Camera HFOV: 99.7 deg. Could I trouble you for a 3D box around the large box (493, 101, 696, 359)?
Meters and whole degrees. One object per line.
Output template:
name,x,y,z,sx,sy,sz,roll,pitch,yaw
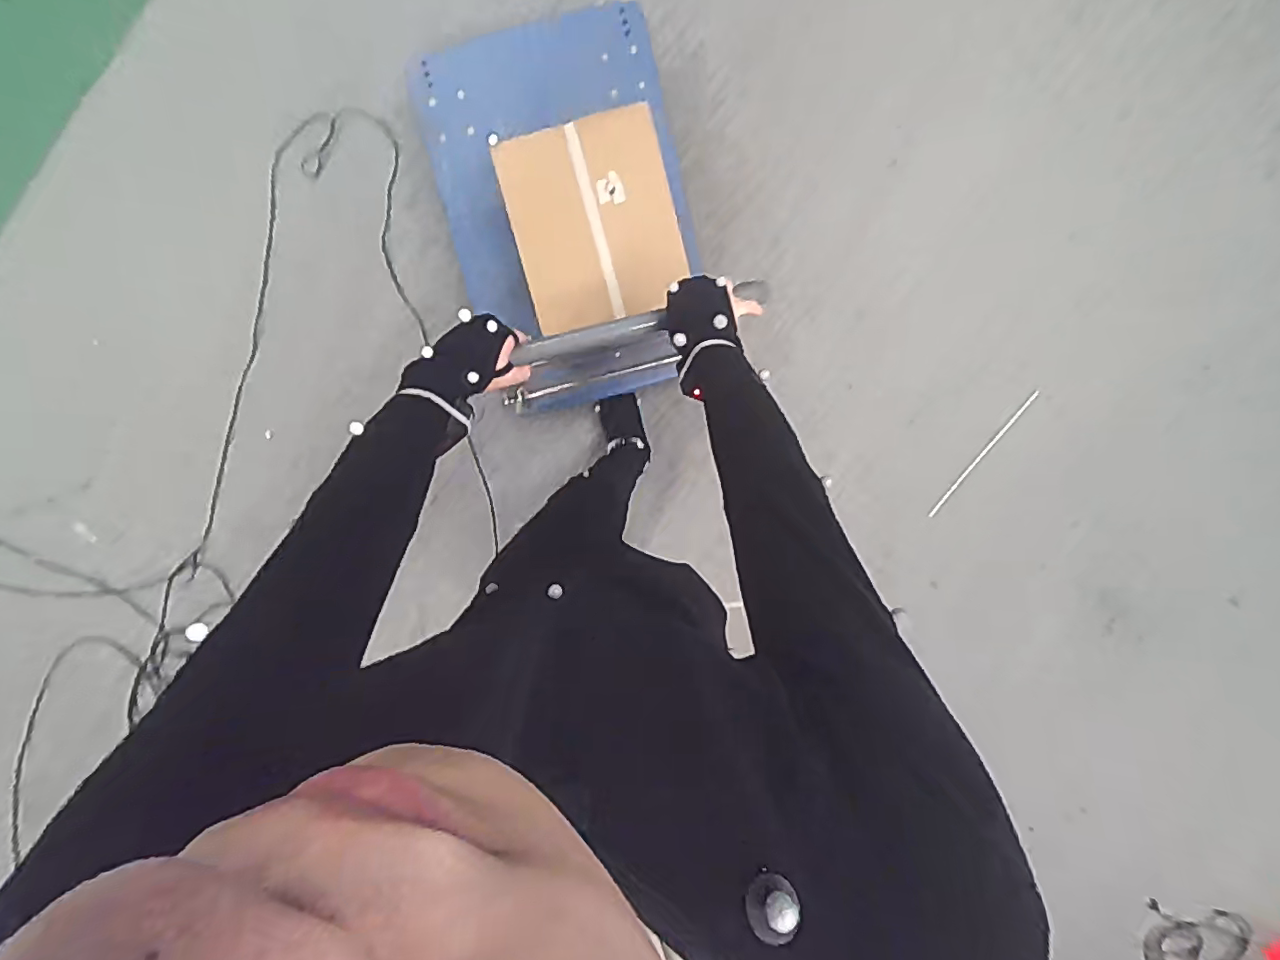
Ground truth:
large box,-0.086,-0.518,1.210,0.320,0.320,0.408,-15,98,0
